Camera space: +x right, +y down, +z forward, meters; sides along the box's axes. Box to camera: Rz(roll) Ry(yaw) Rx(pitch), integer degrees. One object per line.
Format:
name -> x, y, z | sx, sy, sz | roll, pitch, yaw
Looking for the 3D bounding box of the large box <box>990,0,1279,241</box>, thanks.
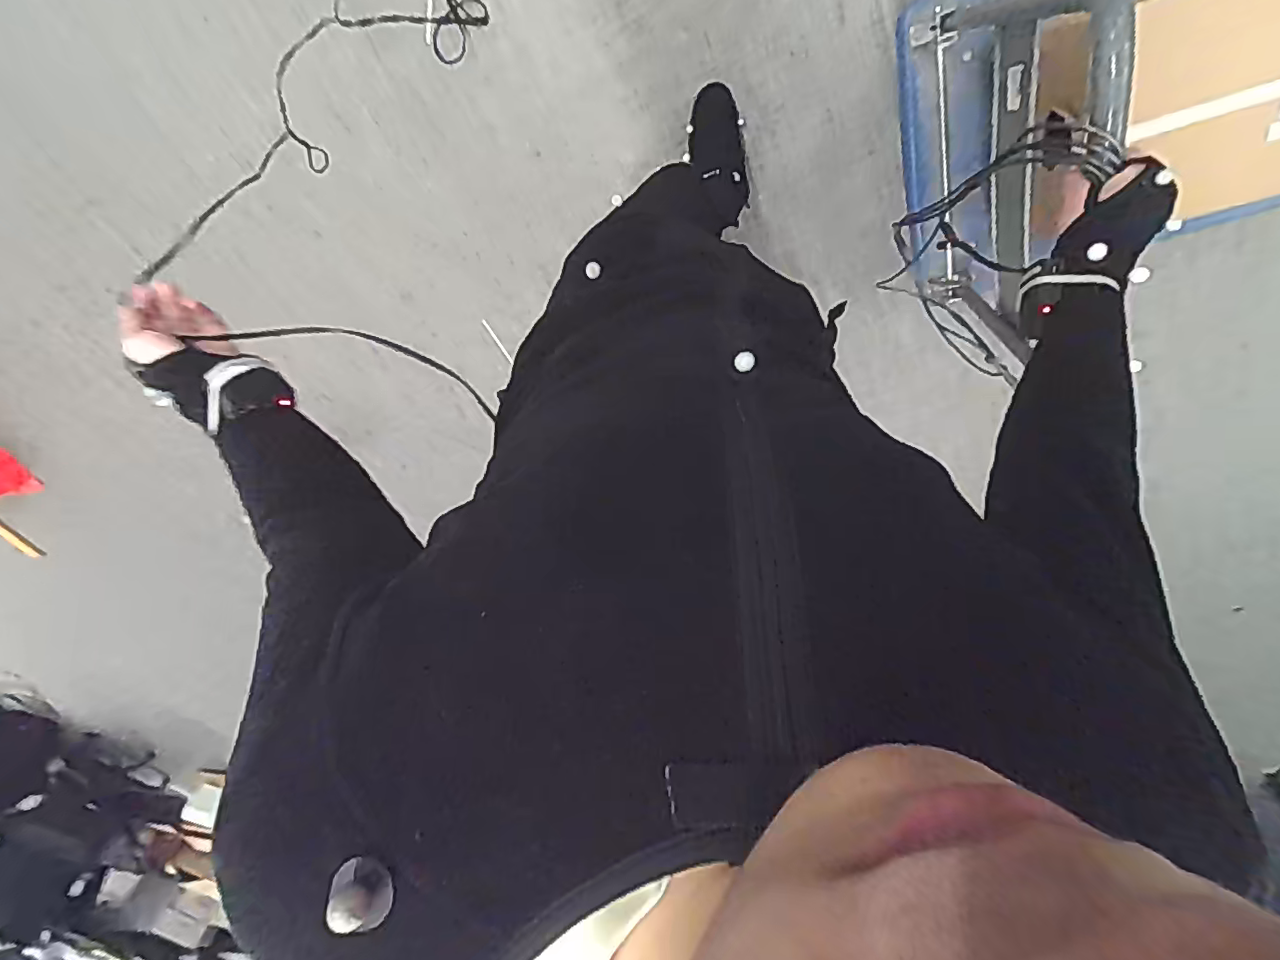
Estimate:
large box -> 0.854, -0.638, 0.882 | 0.408, 0.320, 0.320 | -12, 124, 14
